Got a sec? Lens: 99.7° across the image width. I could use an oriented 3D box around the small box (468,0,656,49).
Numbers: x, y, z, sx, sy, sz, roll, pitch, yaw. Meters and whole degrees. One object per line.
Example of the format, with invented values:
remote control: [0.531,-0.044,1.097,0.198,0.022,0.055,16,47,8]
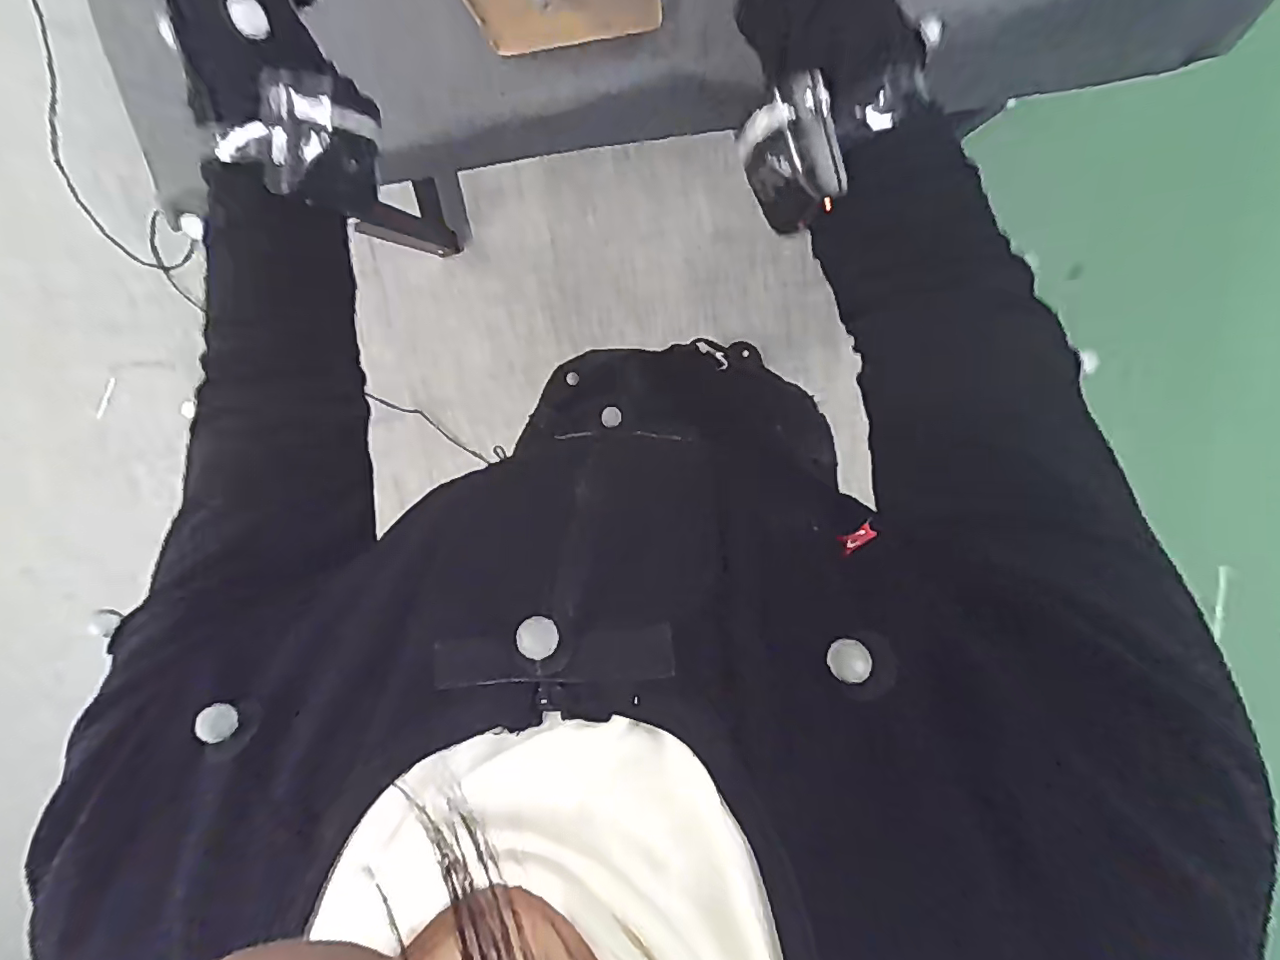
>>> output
small box: [-0.083,-0.517,0.470,0.179,0.176,0.168,-4,104,6]
